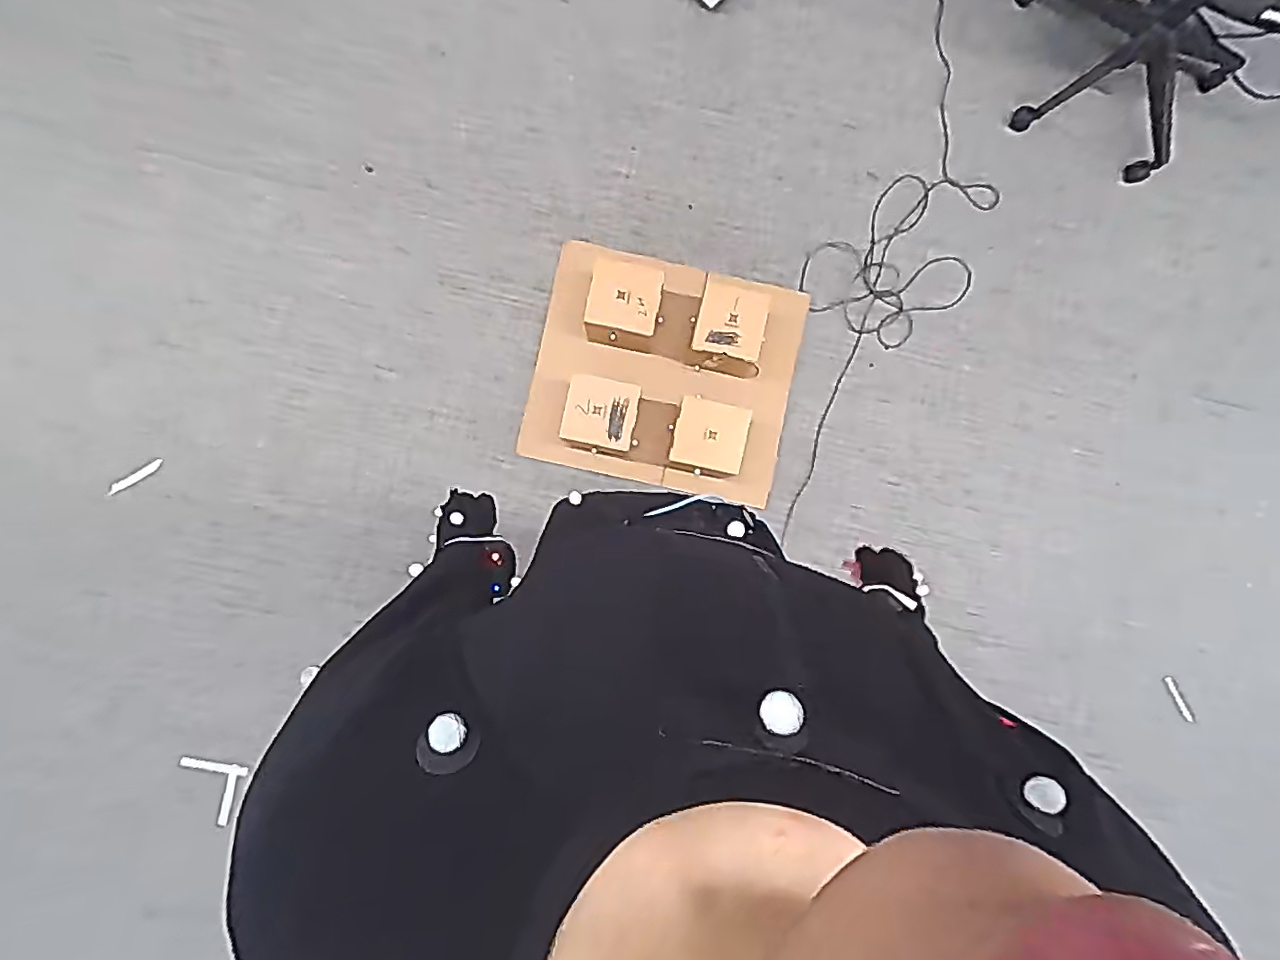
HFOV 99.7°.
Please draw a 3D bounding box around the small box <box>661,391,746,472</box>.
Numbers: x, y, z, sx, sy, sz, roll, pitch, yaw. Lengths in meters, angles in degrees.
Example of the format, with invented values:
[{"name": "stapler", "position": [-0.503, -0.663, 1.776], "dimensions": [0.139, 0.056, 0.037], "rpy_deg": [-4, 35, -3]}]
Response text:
[{"name": "small box", "position": [0.159, -0.120, 1.401], "dimensions": [0.179, 0.176, 0.168], "rpy_deg": [13, 88, 1]}]
